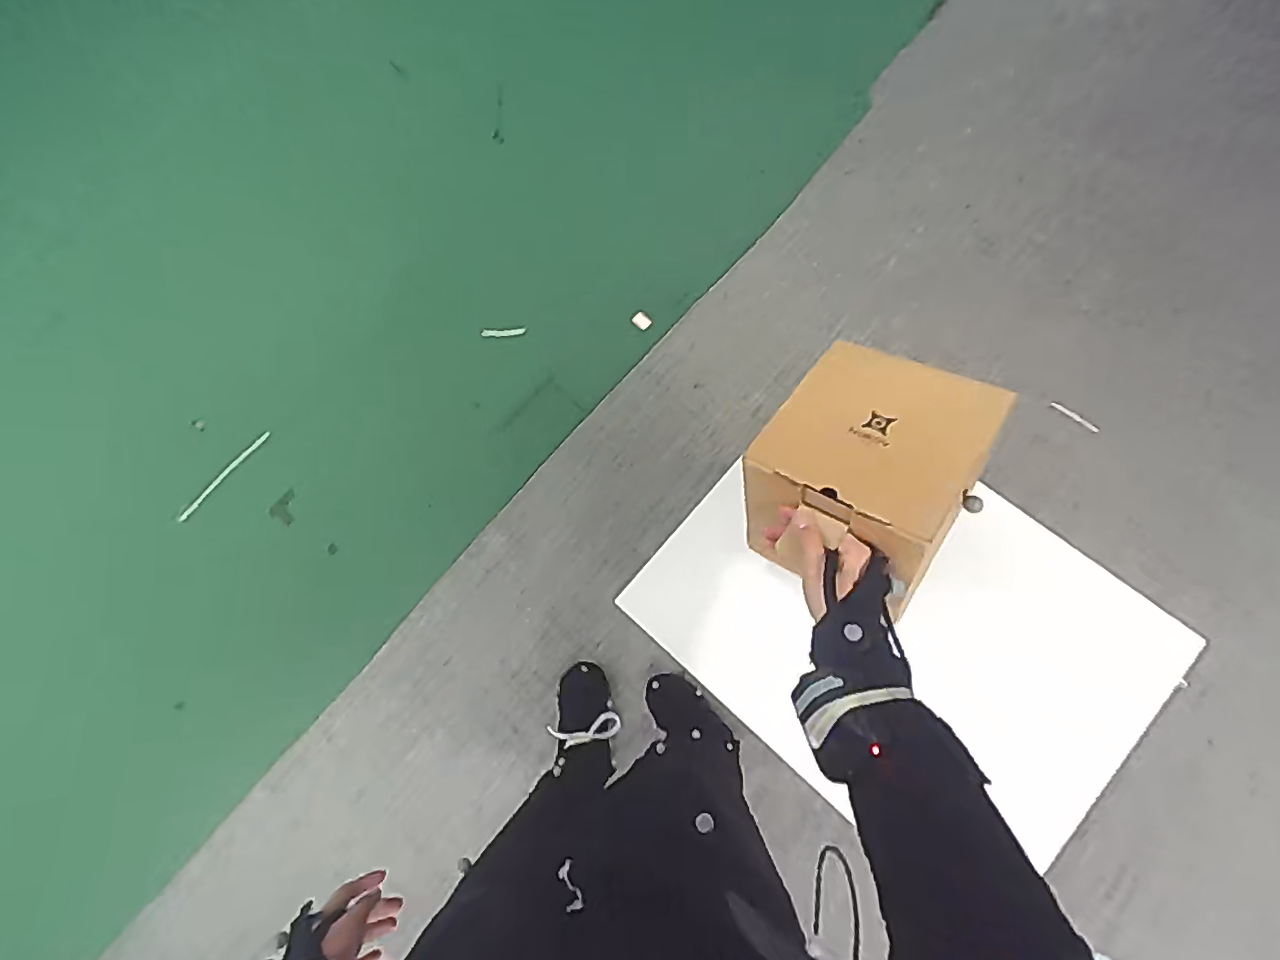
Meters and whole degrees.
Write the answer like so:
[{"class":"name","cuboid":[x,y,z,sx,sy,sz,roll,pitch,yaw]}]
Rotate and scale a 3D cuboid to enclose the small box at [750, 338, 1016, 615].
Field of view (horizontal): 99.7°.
[{"class":"small box","cuboid":[0.224,-0.002,0.534,0.168,0.176,0.179,29,66,30]}]
